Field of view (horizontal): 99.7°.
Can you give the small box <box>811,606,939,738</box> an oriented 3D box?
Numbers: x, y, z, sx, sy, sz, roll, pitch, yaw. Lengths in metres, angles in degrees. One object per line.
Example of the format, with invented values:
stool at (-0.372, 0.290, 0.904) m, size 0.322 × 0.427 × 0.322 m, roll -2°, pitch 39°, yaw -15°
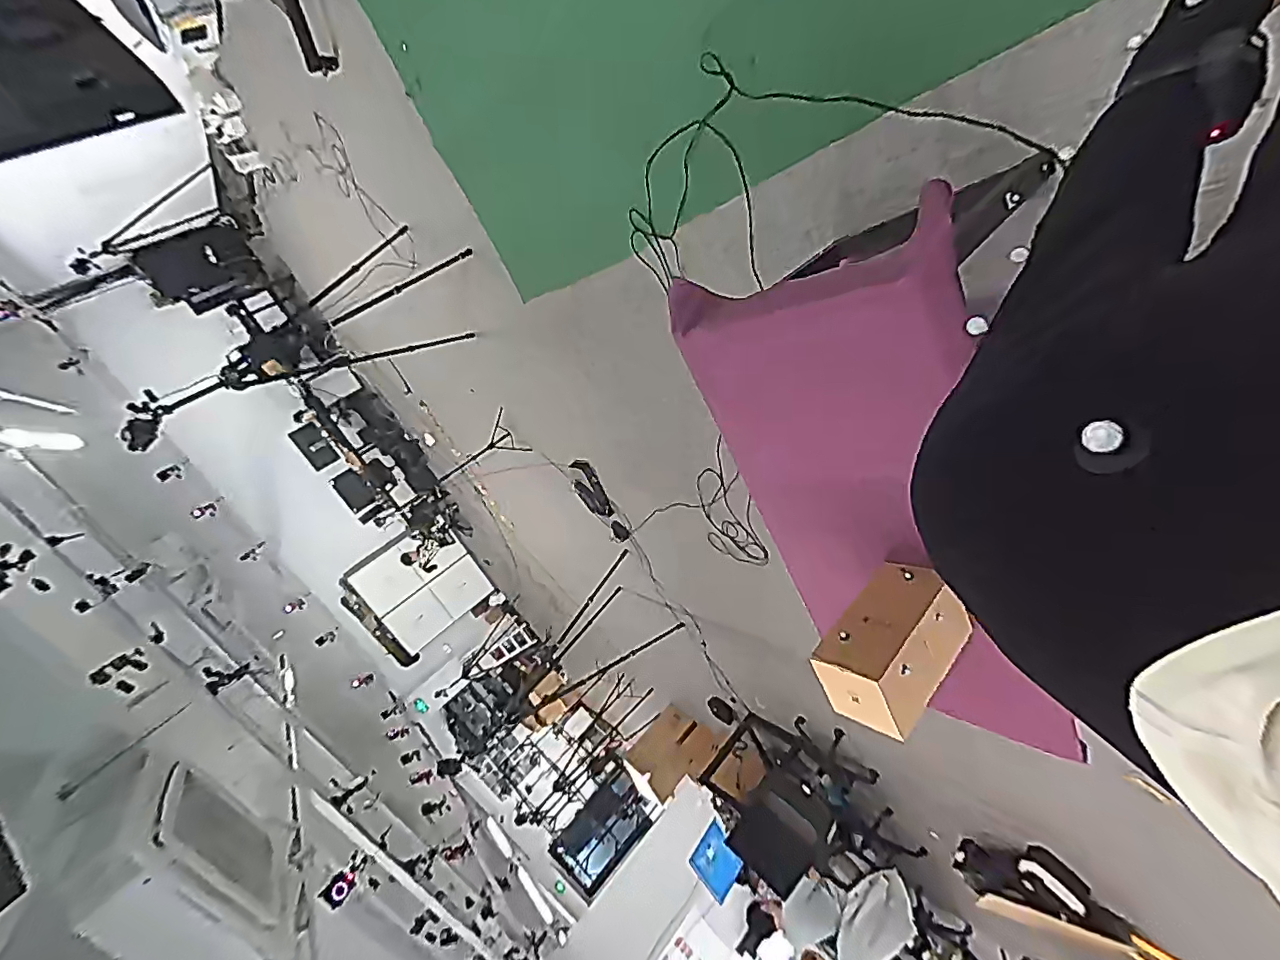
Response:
small box at (0.504, 0.399, 1.155) m, size 0.168 × 0.176 × 0.179 m, roll 4°, pitch 128°, yaw 56°
